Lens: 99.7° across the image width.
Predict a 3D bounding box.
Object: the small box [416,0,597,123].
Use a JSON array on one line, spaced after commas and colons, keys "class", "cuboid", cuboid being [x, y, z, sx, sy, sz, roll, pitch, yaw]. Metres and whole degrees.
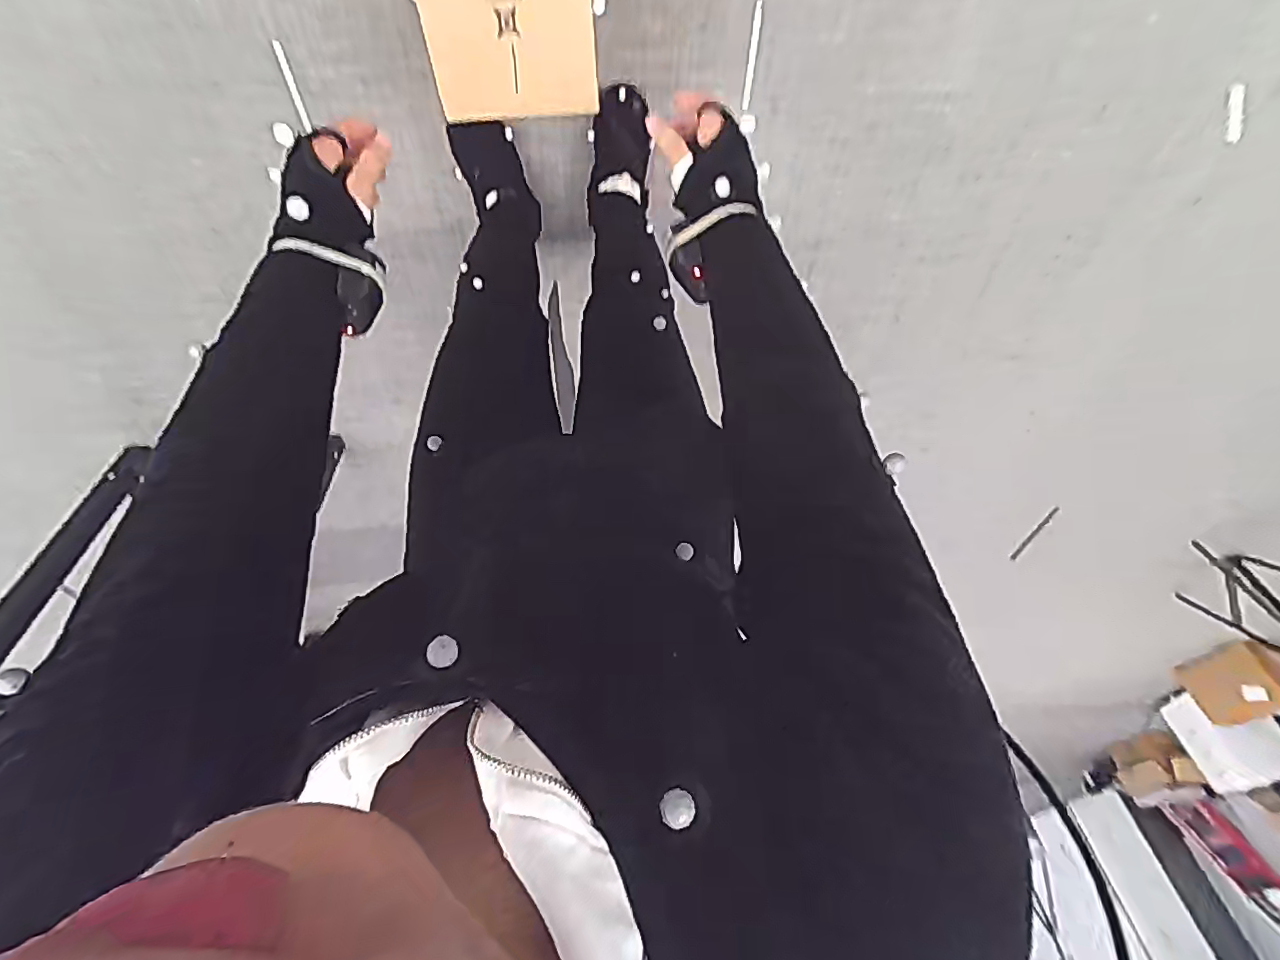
[{"class": "small box", "cuboid": [-0.138, -0.506, 0.575, 0.168, 0.176, 0.179, -5, 138, -3]}]
